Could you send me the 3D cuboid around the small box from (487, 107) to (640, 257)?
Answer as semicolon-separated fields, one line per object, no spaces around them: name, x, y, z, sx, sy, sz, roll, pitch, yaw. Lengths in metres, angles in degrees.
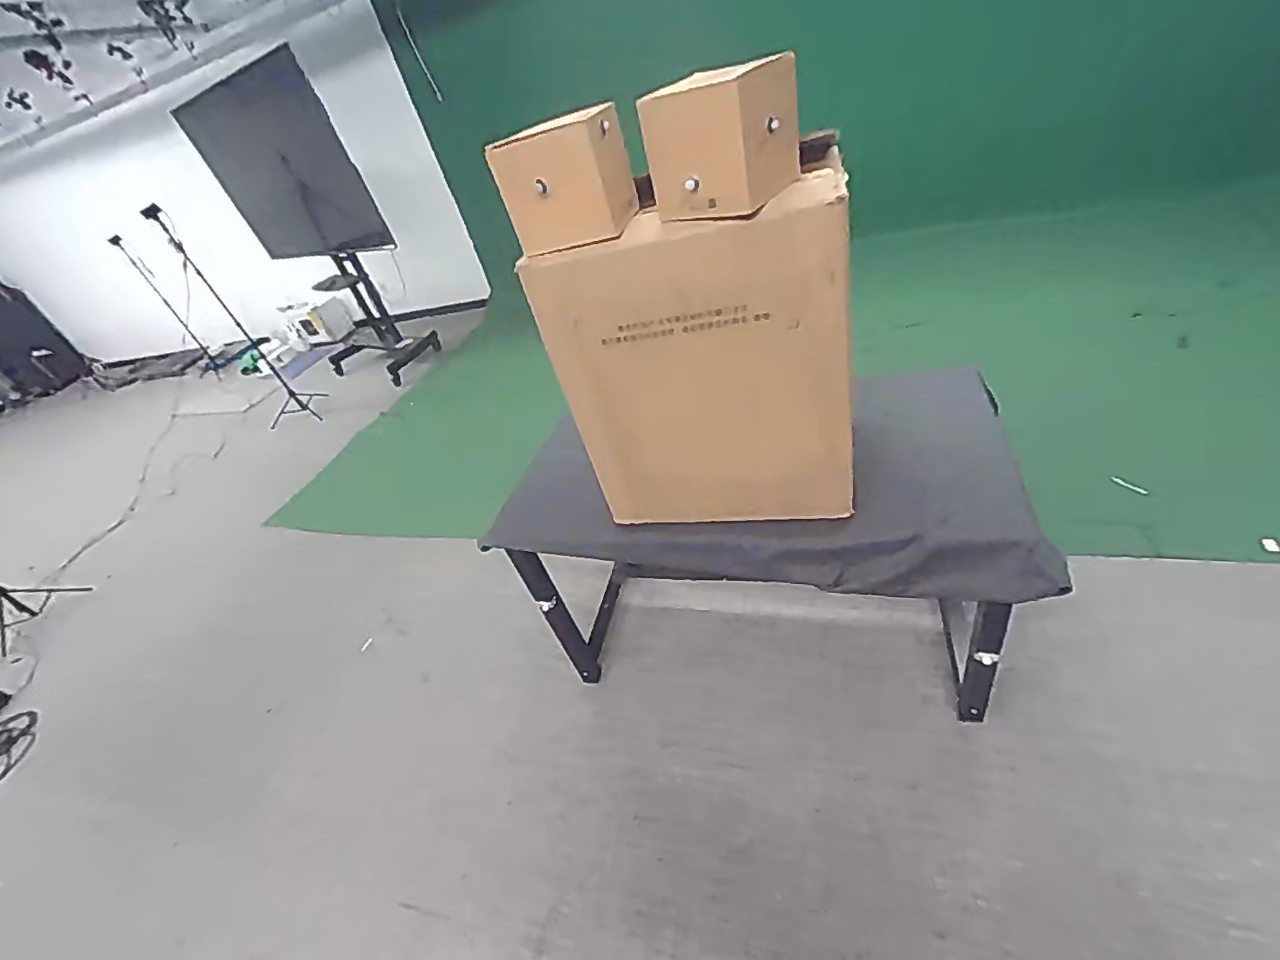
small box;-0.119;-0.500;0.919;0.179;0.176;0.168;-4;40;21

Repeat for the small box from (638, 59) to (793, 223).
small box;0.125;-0.513;0.831;0.168;0.176;0.179;16;50;36
